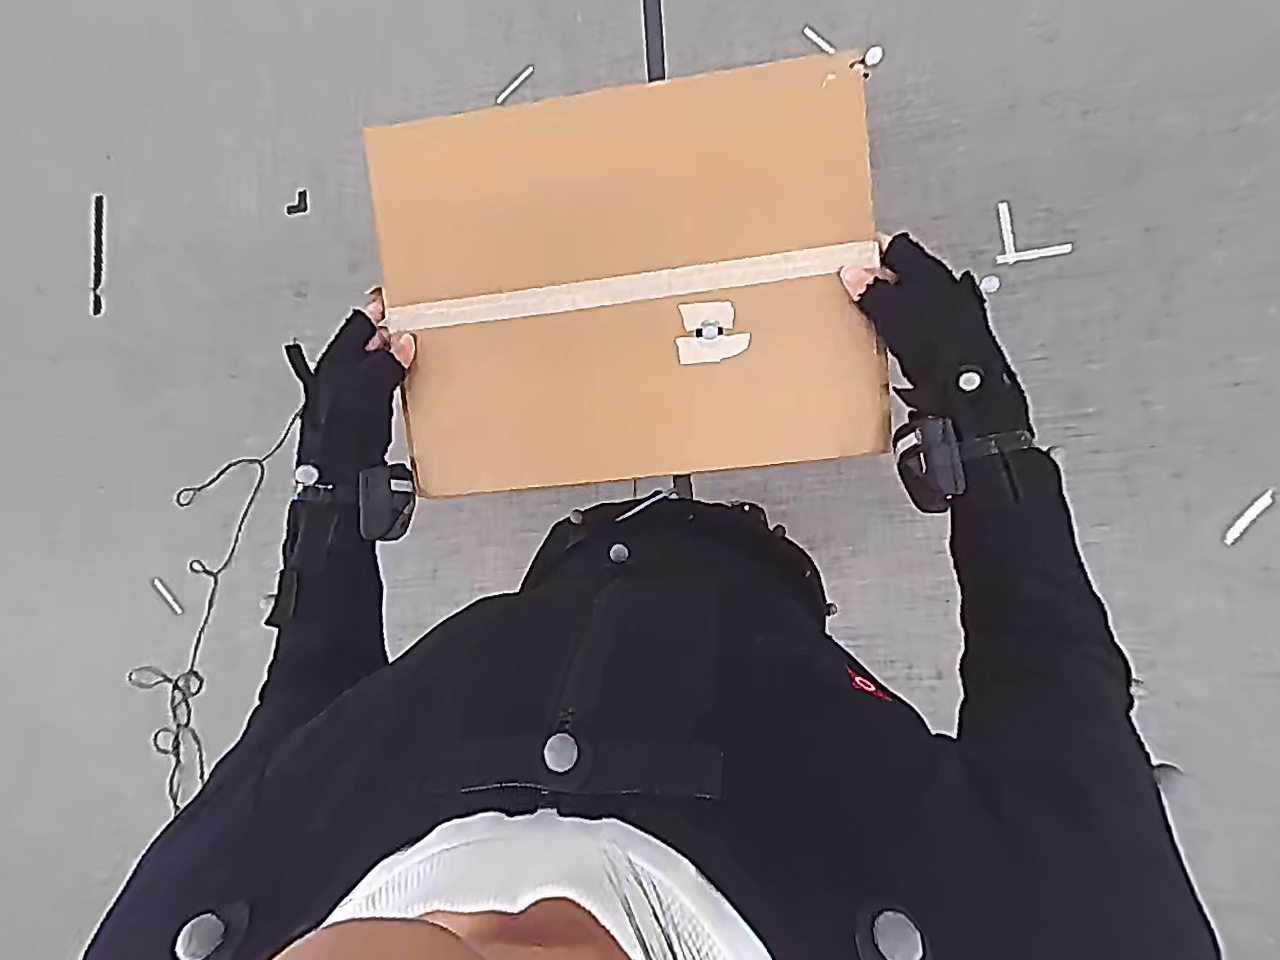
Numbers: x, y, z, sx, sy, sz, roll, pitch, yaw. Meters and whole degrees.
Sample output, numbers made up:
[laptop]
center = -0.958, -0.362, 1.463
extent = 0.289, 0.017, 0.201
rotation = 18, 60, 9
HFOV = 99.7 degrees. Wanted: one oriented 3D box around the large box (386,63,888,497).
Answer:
[large box]
center = 0.003, -0.170, 0.606
extent = 0.408, 0.320, 0.320
rotation = -6, 95, 5
